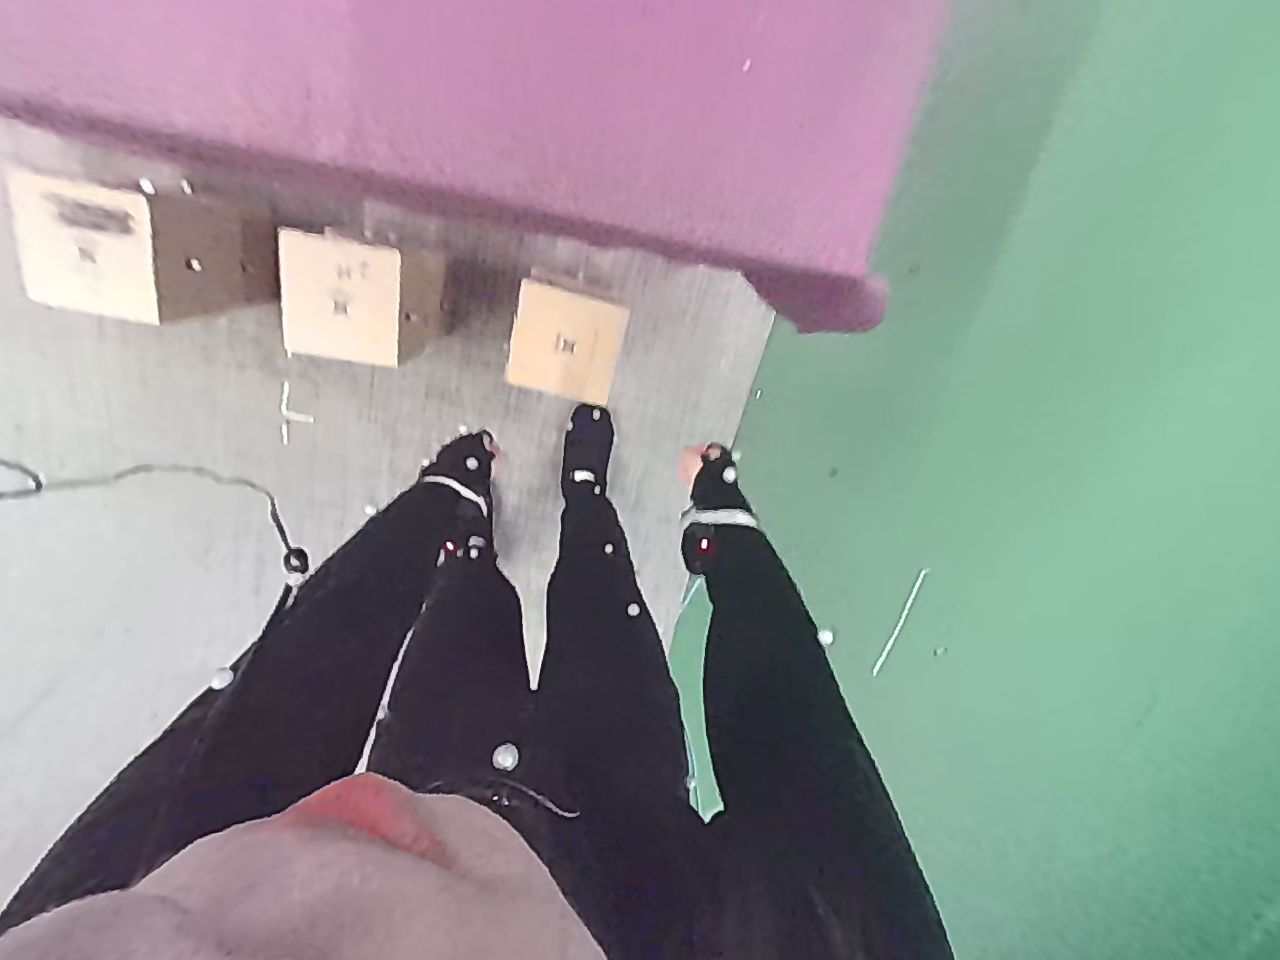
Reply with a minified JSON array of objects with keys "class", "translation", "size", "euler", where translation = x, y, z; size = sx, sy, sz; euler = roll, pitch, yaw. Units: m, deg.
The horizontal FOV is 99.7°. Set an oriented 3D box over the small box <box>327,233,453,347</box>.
[{"class":"small box","translation":[-0.476,-0.365,1.046],"size":[0.179,0.176,0.168],"euler":[10,110,-10]}]
